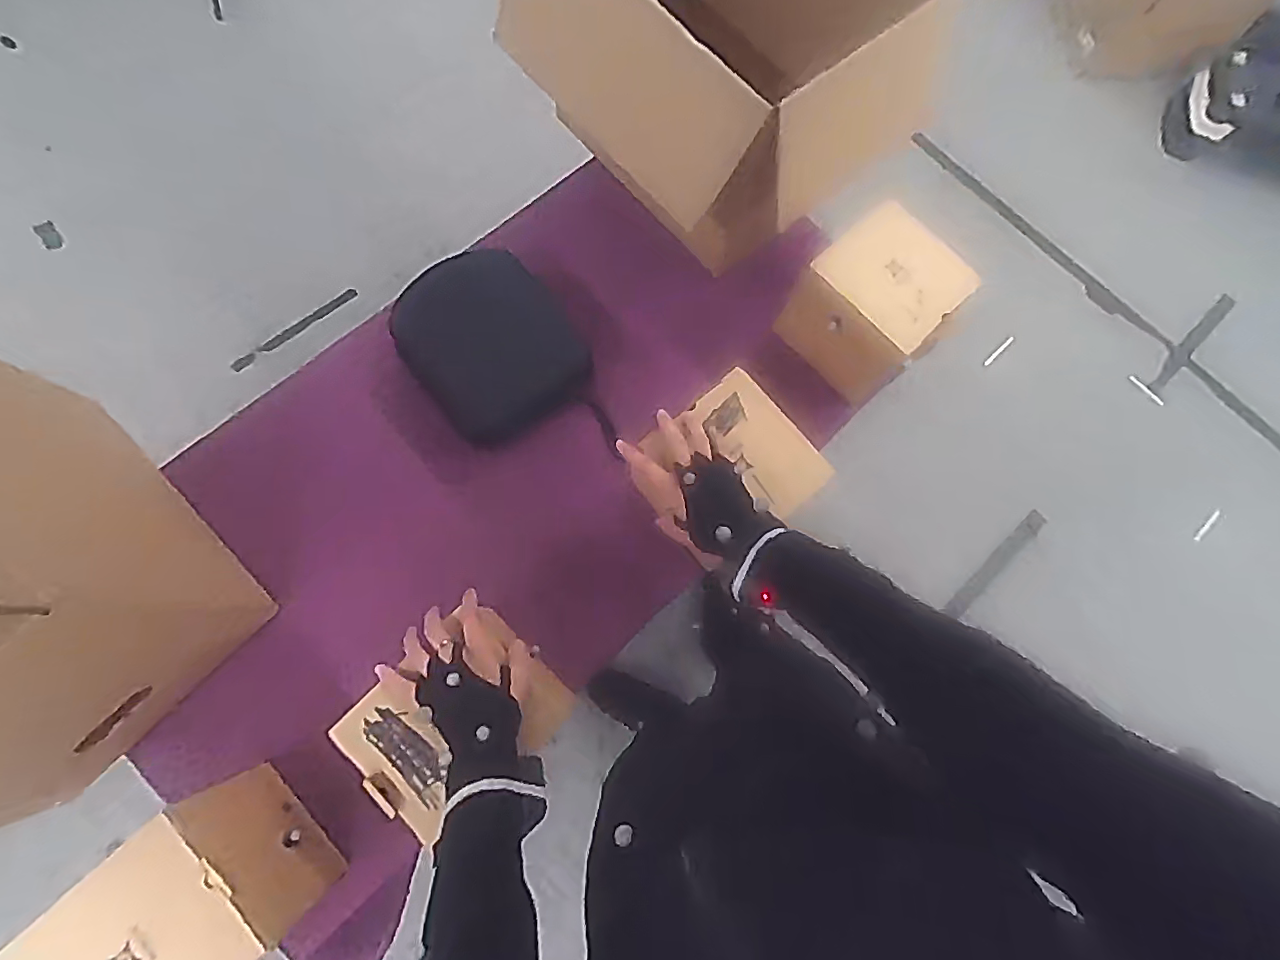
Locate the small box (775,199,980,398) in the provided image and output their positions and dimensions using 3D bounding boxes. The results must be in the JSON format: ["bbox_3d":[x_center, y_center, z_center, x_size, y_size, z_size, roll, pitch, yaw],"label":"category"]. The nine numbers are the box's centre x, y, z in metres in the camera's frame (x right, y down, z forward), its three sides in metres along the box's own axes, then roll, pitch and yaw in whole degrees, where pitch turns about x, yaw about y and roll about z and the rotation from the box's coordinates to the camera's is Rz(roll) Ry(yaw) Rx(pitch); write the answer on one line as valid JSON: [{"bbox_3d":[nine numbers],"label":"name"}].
[{"bbox_3d":[0.326,-0.250,0.782,0.168,0.176,0.179,-42,82,-11],"label":"small box"}]

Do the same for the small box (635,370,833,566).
[{"bbox_3d":[0.107,-0.004,0.710,0.168,0.176,0.179,-39,82,-11],"label":"small box"}]

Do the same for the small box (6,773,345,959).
[{"bbox_3d":[-0.454,0.449,0.560,0.179,0.176,0.168,-43,83,-14],"label":"small box"}]
